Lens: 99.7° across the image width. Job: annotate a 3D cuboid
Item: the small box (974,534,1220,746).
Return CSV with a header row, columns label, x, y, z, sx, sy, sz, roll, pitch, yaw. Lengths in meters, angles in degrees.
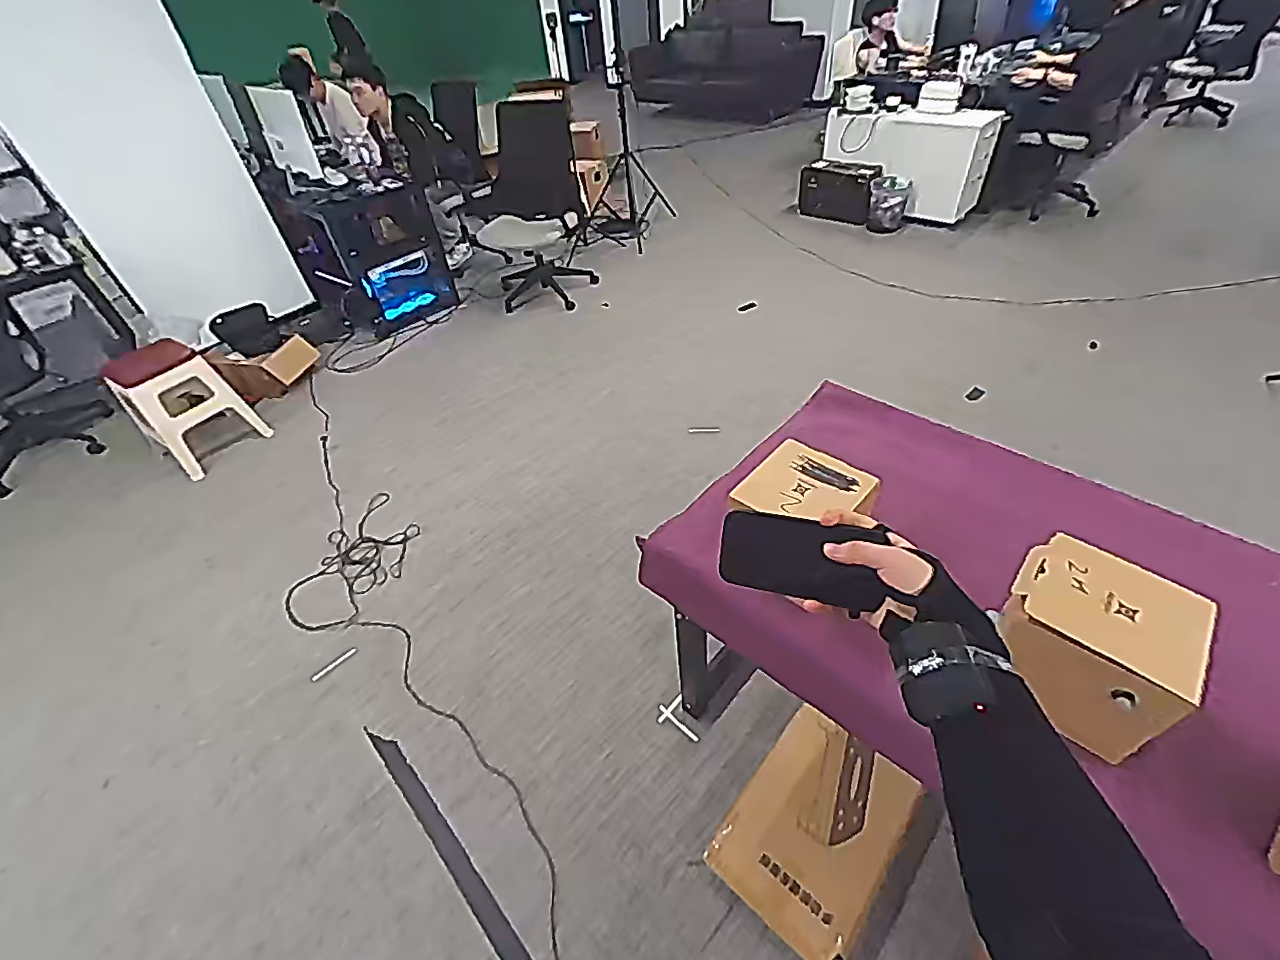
label,x,y,z,sx,sy,sz,roll,pitch,yaw
small box,0.575,0.209,0.698,0.179,0.176,0.168,29,52,32
